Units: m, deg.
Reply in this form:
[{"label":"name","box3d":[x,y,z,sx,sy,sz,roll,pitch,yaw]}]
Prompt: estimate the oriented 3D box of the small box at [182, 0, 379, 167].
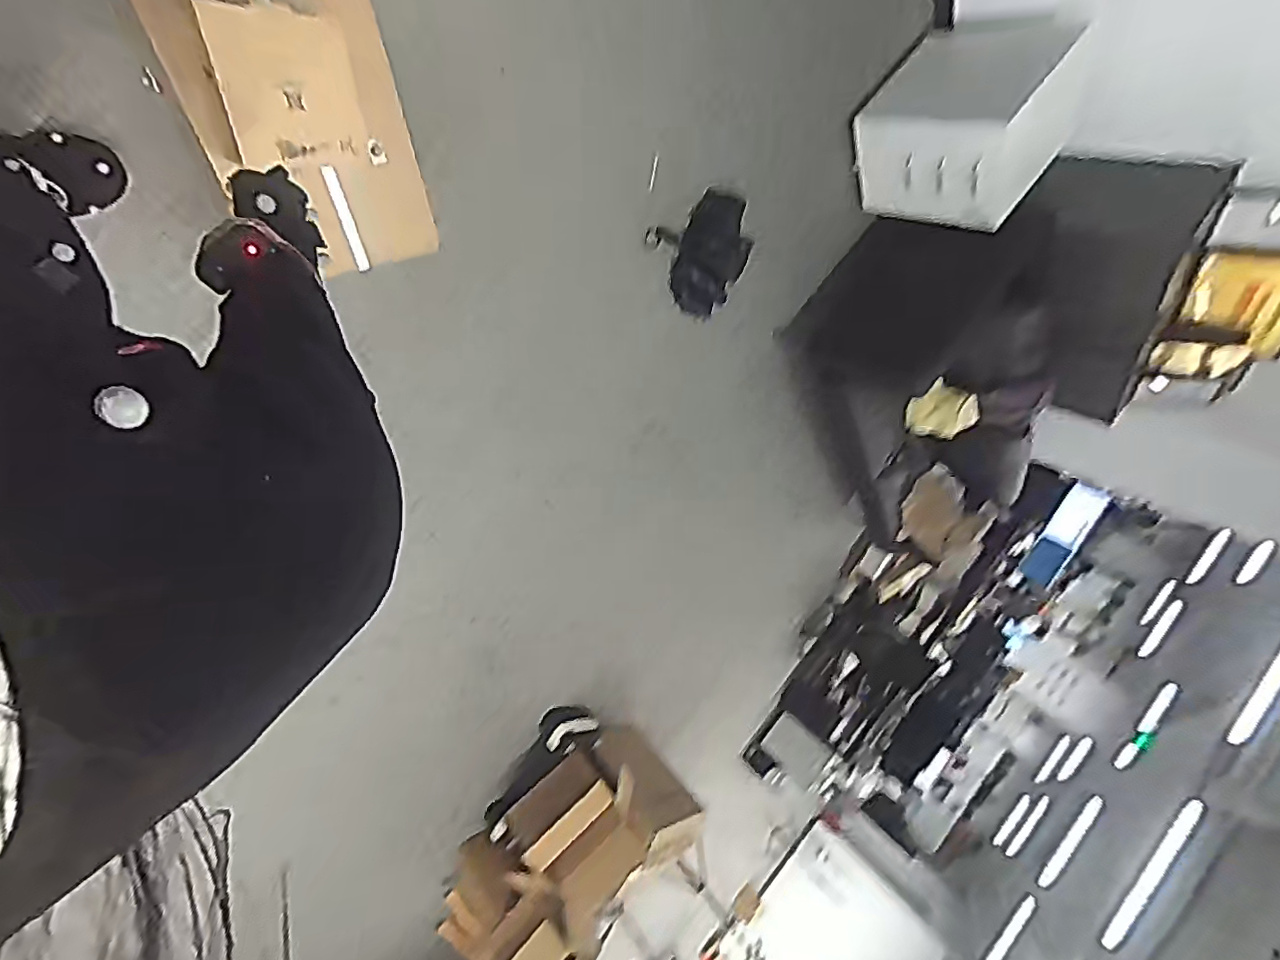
[{"label":"small box","box3d":[-0.501,-0.550,0.760,0.168,0.176,0.179,-27,134,-32]}]
